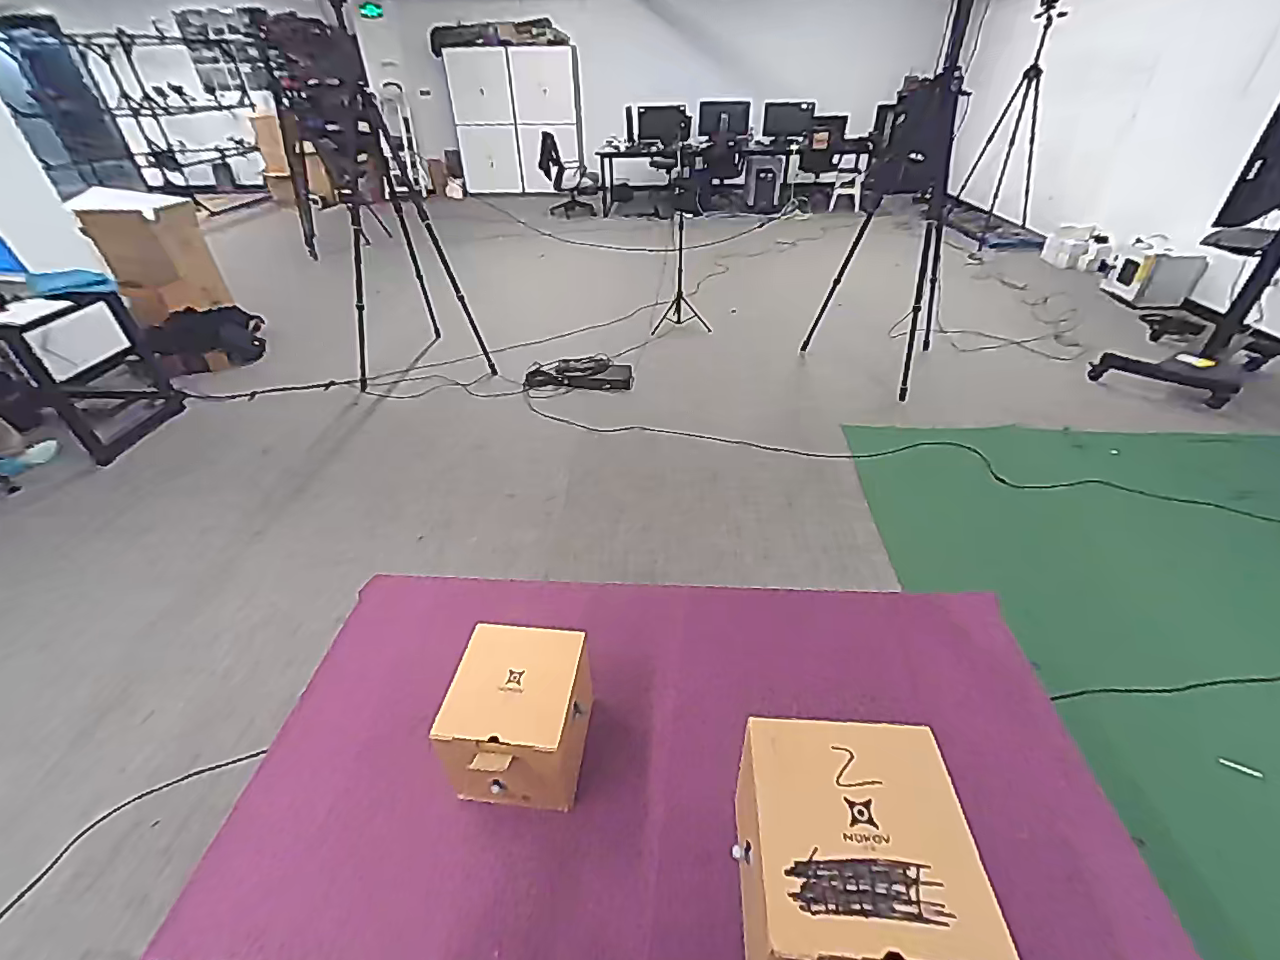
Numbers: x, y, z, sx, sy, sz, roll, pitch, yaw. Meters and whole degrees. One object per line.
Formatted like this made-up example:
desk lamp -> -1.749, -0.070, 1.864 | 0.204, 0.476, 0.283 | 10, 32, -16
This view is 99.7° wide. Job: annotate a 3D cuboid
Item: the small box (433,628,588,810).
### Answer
small box -> -0.172, 0.344, 0.787 | 0.168, 0.176, 0.179 | 3, 38, 6
